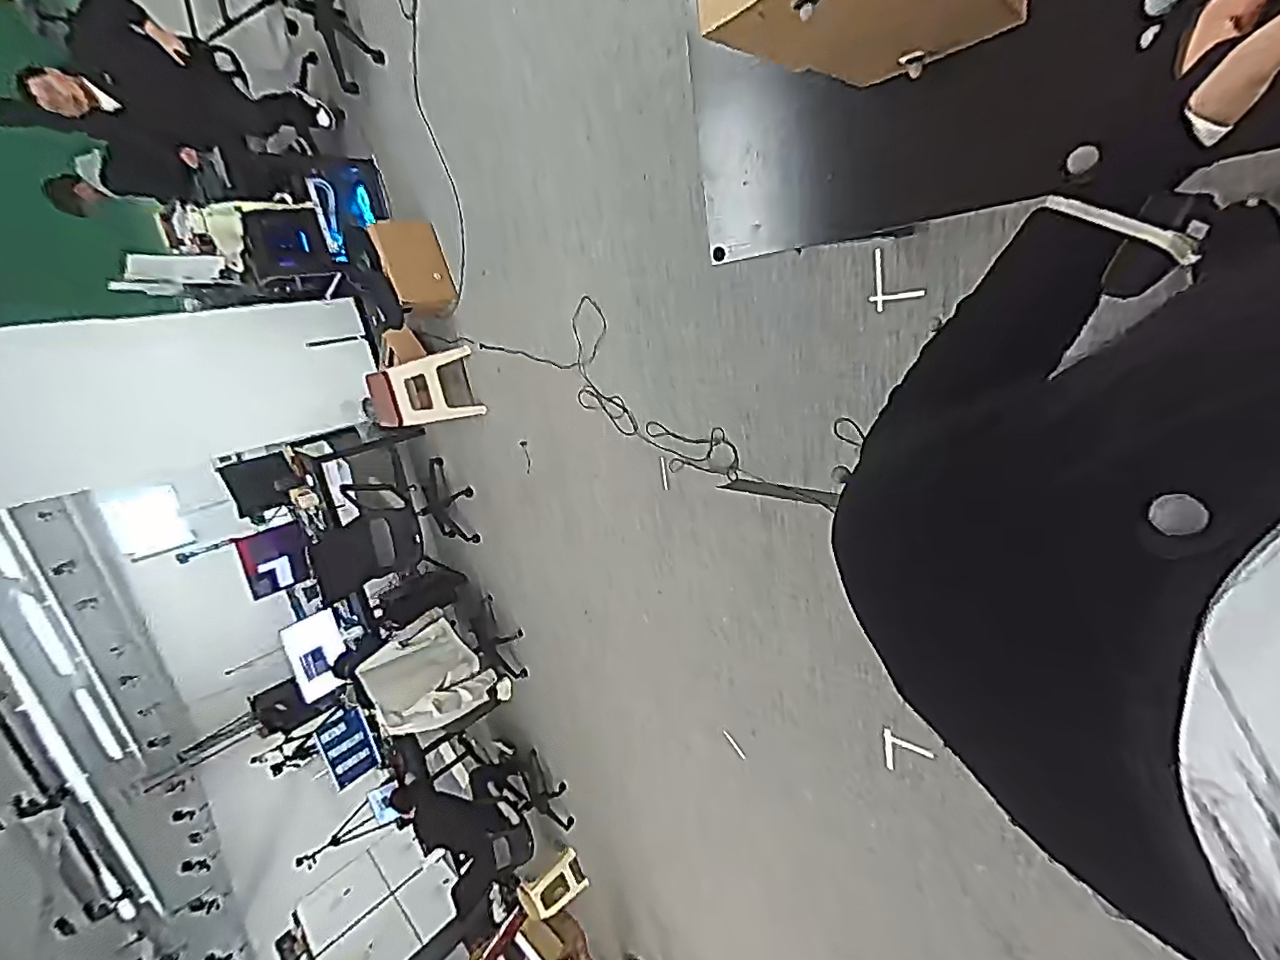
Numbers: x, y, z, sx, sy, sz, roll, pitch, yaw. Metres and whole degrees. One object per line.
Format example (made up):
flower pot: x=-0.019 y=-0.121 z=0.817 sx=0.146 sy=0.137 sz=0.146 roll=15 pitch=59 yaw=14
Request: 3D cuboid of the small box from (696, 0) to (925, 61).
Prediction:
small box: x=0.153 y=-0.474 z=0.430 sx=0.179 sy=0.176 sz=0.168 roll=5 pitch=112 yaw=46

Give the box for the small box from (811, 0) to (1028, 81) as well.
small box: x=0.269 y=-0.533 z=0.532 sx=0.168 sy=0.176 sz=0.179 roll=7 pitch=115 yaw=46
